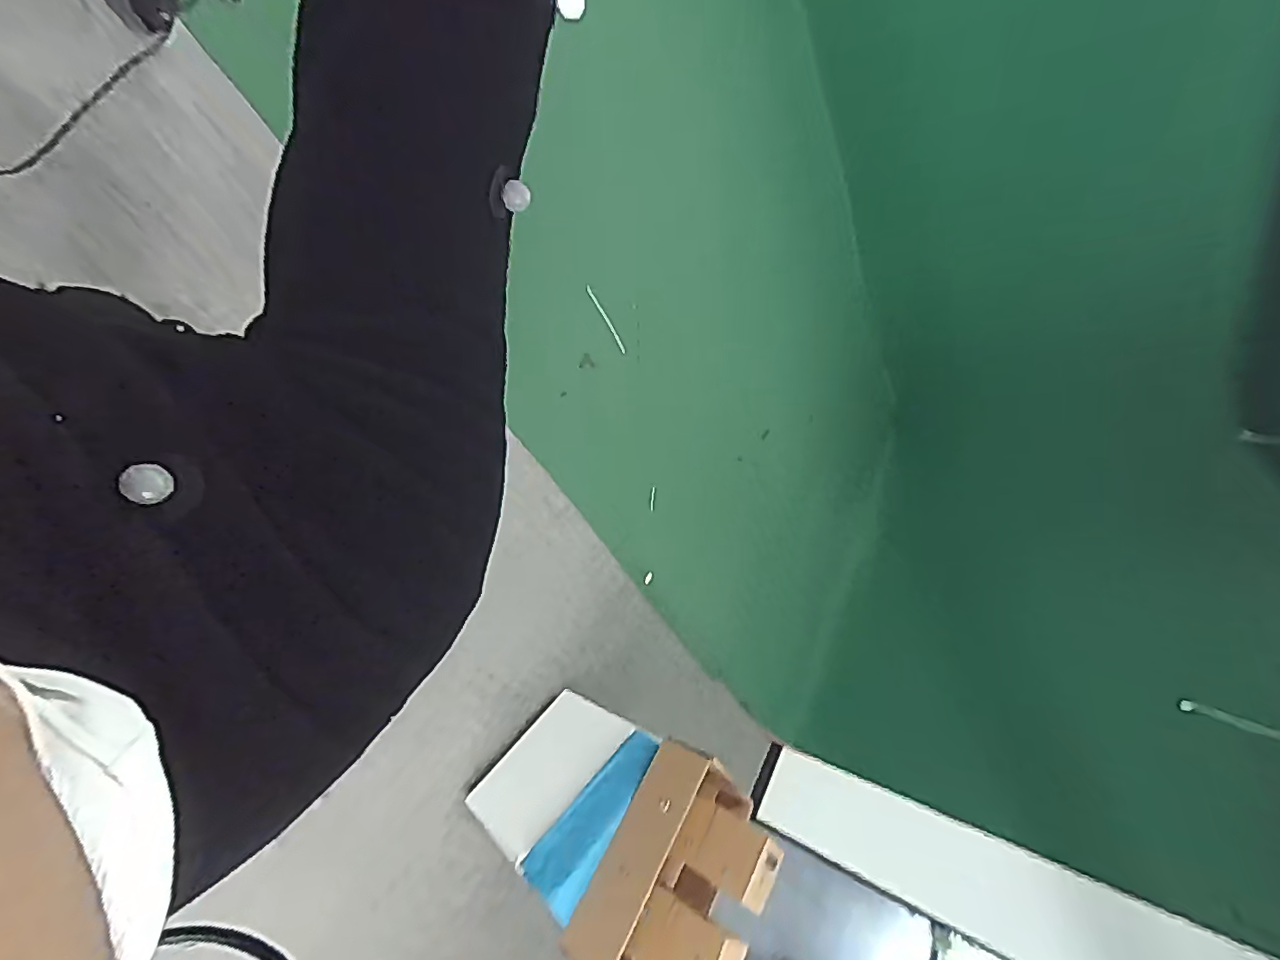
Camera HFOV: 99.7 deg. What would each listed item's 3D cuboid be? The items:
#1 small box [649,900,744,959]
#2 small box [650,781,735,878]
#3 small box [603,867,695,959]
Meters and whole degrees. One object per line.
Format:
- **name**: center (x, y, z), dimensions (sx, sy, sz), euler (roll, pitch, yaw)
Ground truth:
- **small box**: center (0.147, 1.268, 1.439), dimensions (0.179, 0.176, 0.168), euler (-57, 132, -25)
- **small box**: center (0.160, 1.074, 1.671), dimensions (0.179, 0.176, 0.168), euler (-53, 130, -26)
- **small box**: center (0.025, 1.253, 1.546), dimensions (0.179, 0.176, 0.168), euler (-57, 133, -27)
